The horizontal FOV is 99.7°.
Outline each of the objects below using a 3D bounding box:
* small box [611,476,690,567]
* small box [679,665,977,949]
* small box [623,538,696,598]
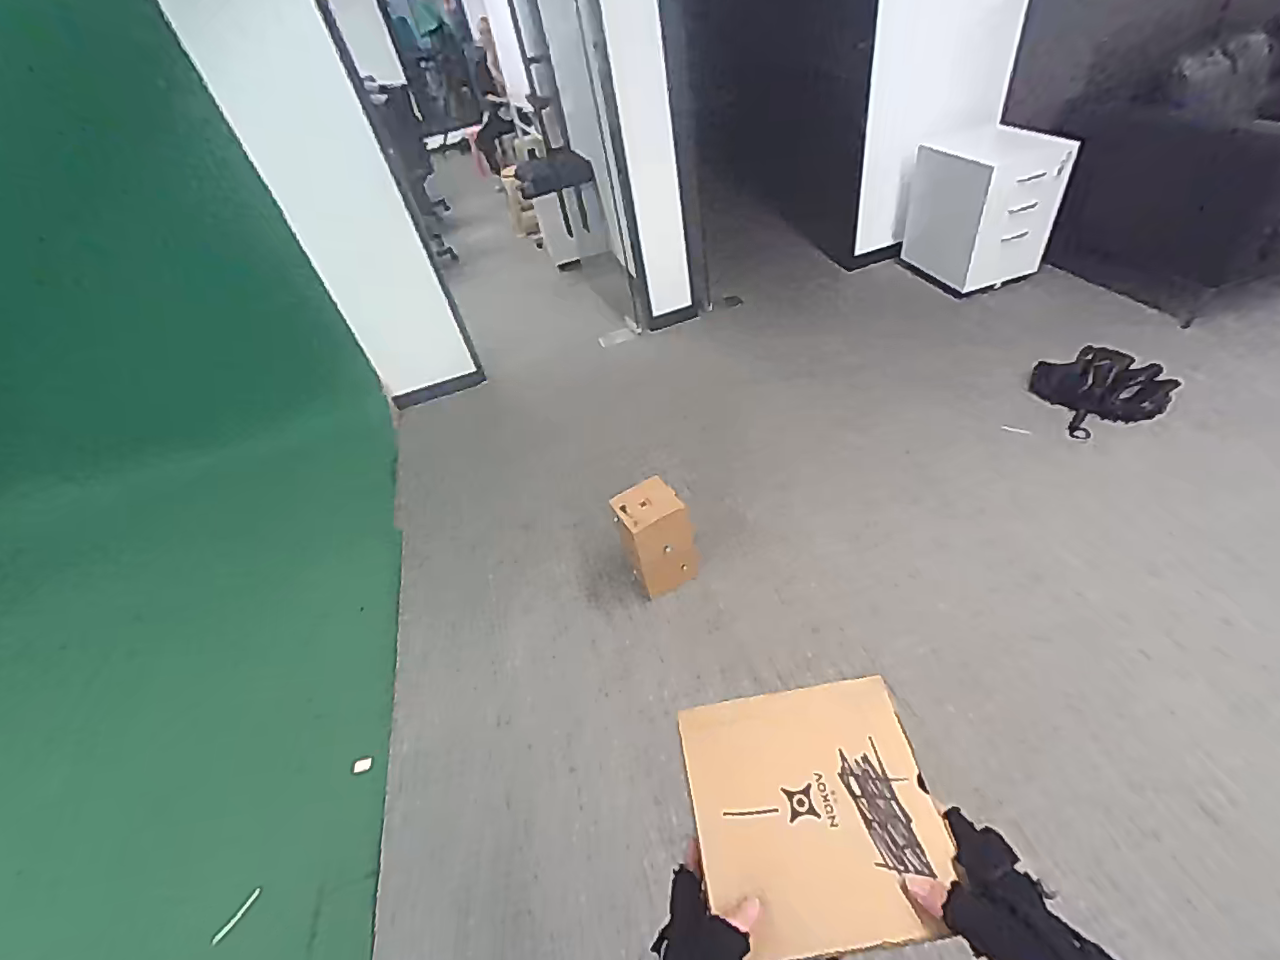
[{"bbox_3d":[0.038,0.126,1.629,0.179,0.176,0.168,-29,46,-15],"label":"small box"},{"bbox_3d":[0.133,0.280,0.461,0.179,0.176,0.168,-9,47,0],"label":"small box"},{"bbox_3d":[0.066,0.243,1.736,0.179,0.176,0.168,-28,44,-13],"label":"small box"}]
